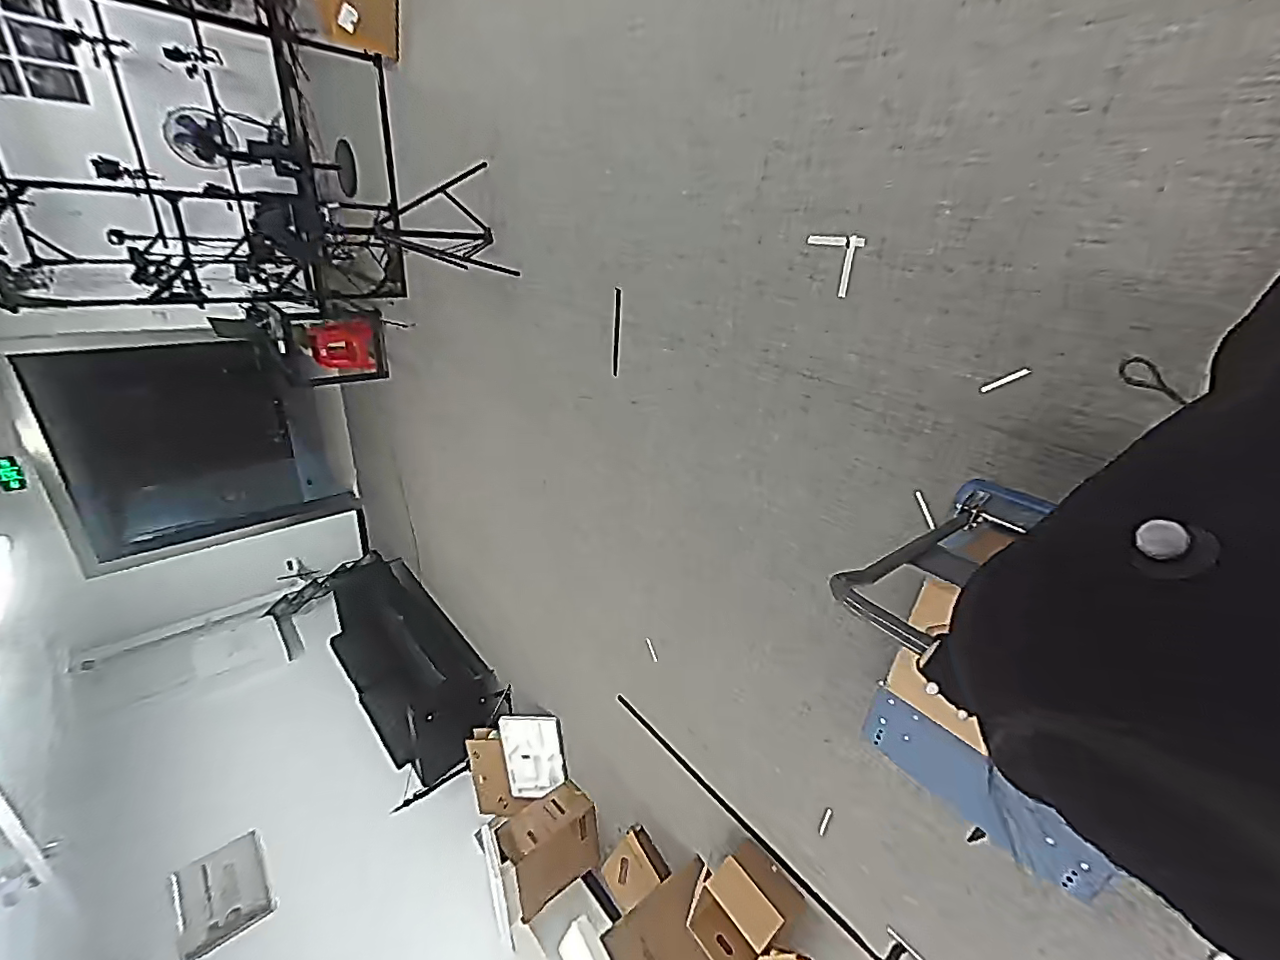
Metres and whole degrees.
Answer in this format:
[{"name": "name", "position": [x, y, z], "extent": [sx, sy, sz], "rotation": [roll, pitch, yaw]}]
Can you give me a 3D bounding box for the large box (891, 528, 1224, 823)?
[{"name": "large box", "position": [0.805, 0.349, 1.080], "extent": [0.408, 0.320, 0.320], "rotation": [32, 126, 42]}]
